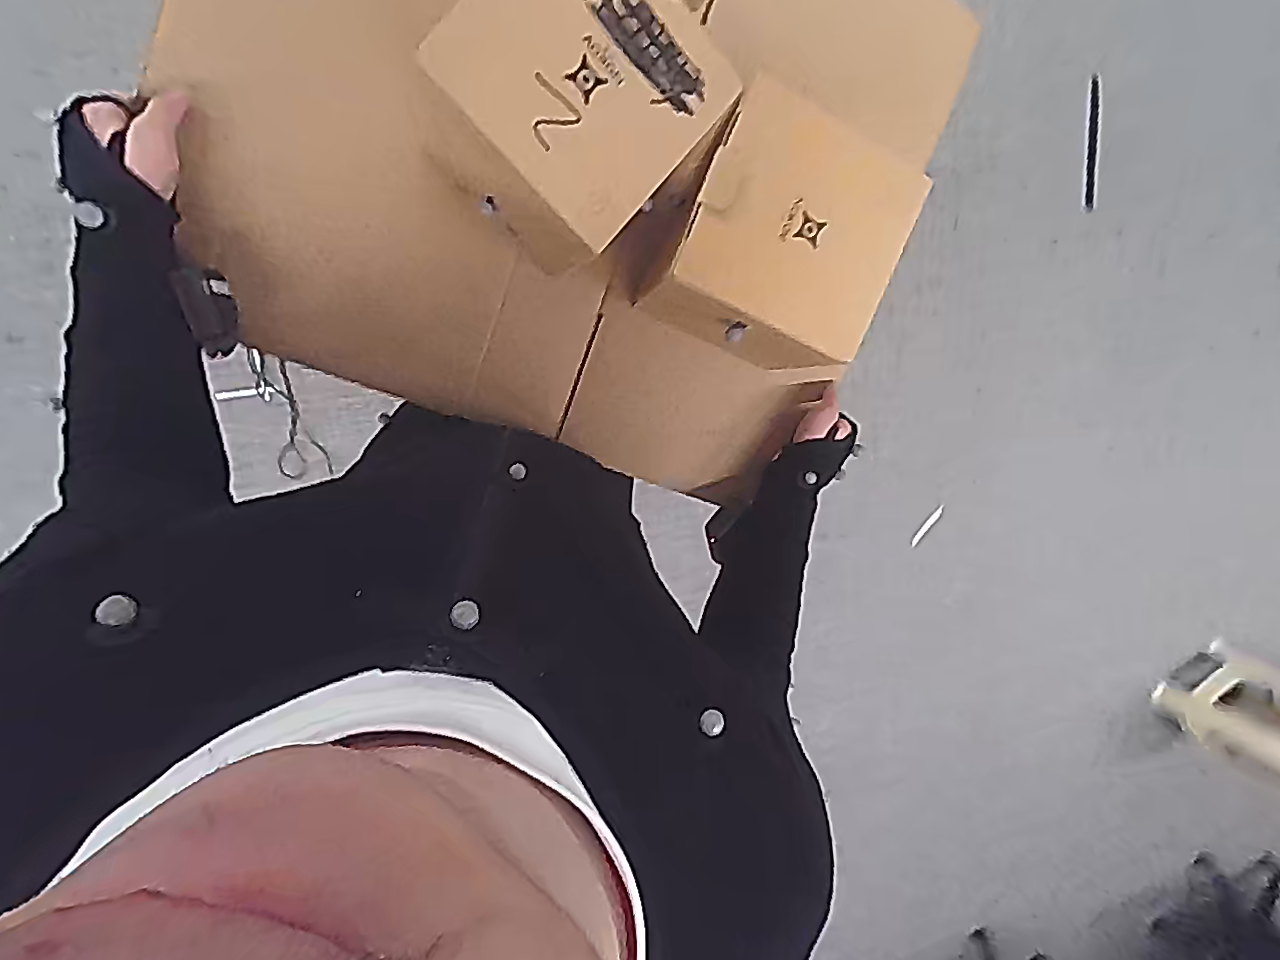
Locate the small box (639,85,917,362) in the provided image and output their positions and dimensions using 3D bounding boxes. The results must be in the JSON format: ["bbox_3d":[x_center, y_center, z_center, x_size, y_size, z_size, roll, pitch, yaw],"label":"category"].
[{"bbox_3d":[0.117,-0.224,0.530,0.179,0.176,0.168,20,95,-13],"label":"small box"}]
